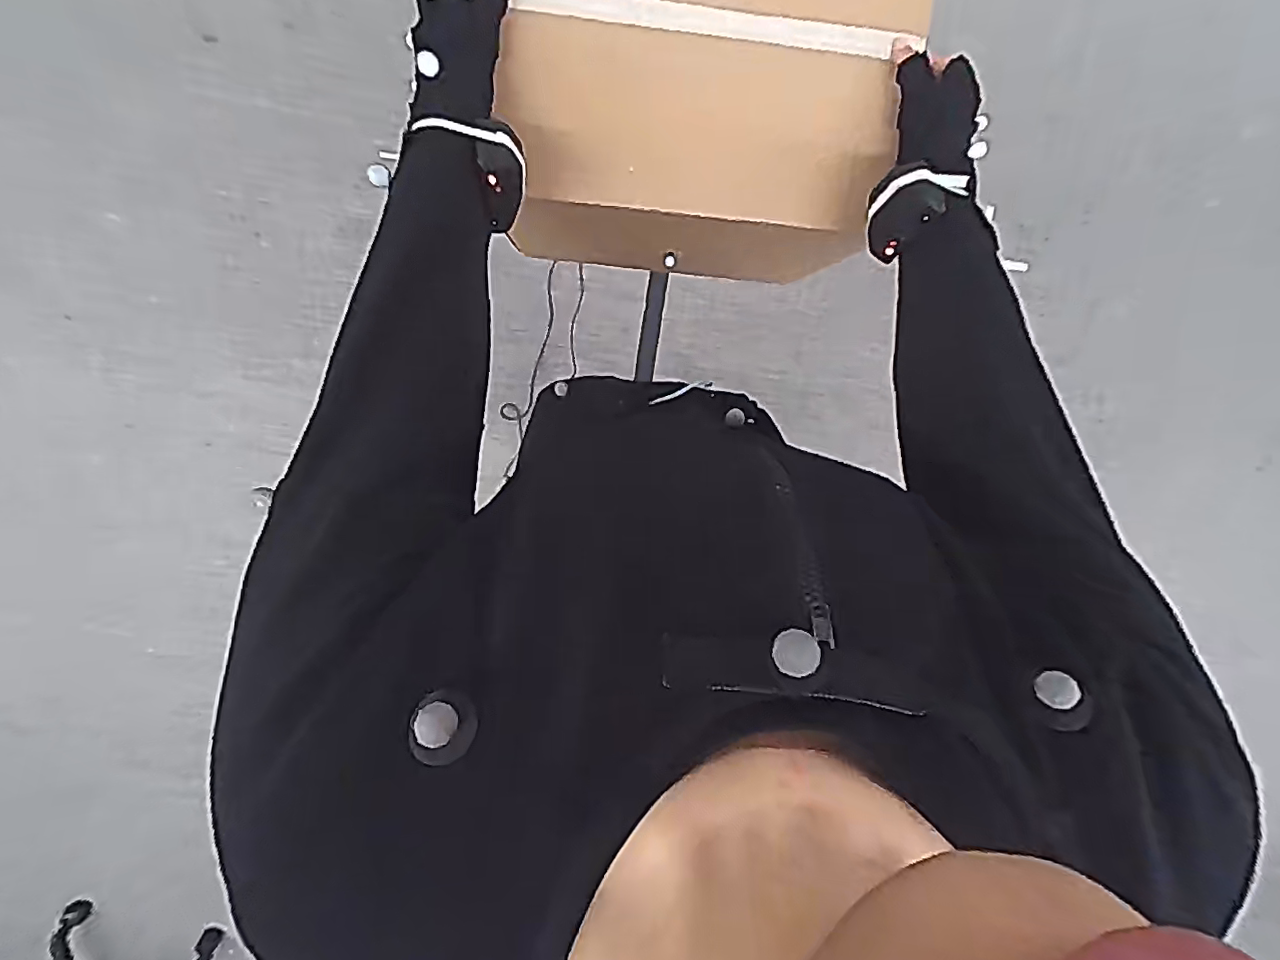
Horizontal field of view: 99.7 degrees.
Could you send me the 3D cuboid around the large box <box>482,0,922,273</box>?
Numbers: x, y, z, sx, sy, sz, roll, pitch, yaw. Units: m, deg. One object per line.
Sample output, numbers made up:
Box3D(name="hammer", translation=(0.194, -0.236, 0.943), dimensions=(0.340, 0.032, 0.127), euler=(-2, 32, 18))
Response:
Box3D(name="large box", translation=(0.052, -0.440, 0.637), dimensions=(0.408, 0.320, 0.320), euler=(4, 101, -4))
